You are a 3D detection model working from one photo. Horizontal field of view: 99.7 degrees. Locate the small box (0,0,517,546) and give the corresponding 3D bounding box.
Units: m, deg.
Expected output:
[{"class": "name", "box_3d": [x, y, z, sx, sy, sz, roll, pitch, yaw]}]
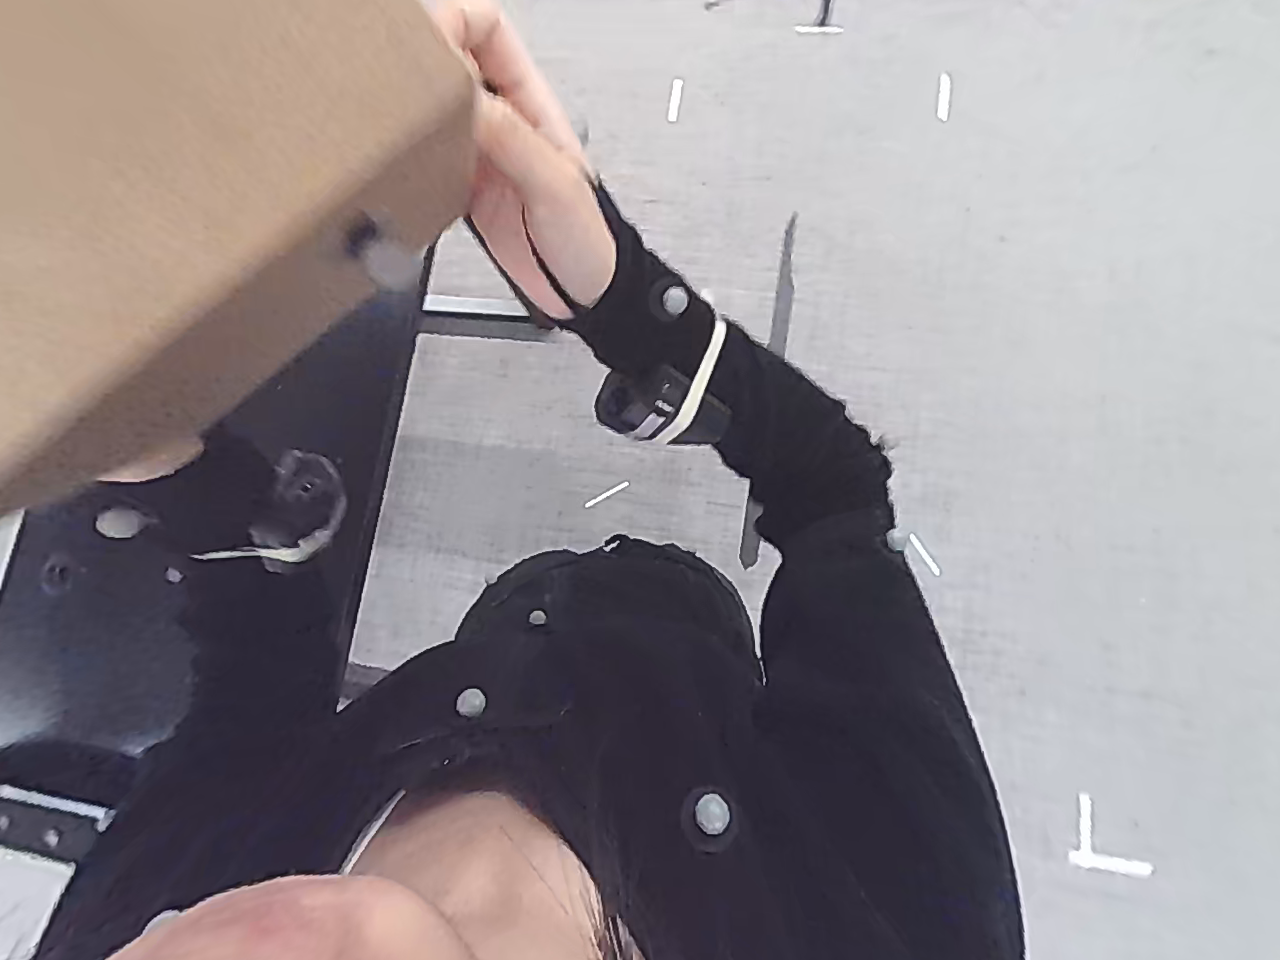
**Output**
[{"class": "small box", "box_3d": [-0.165, -0.115, 0.171, 0.179, 0.176, 0.168, -40, 114, -2]}]
